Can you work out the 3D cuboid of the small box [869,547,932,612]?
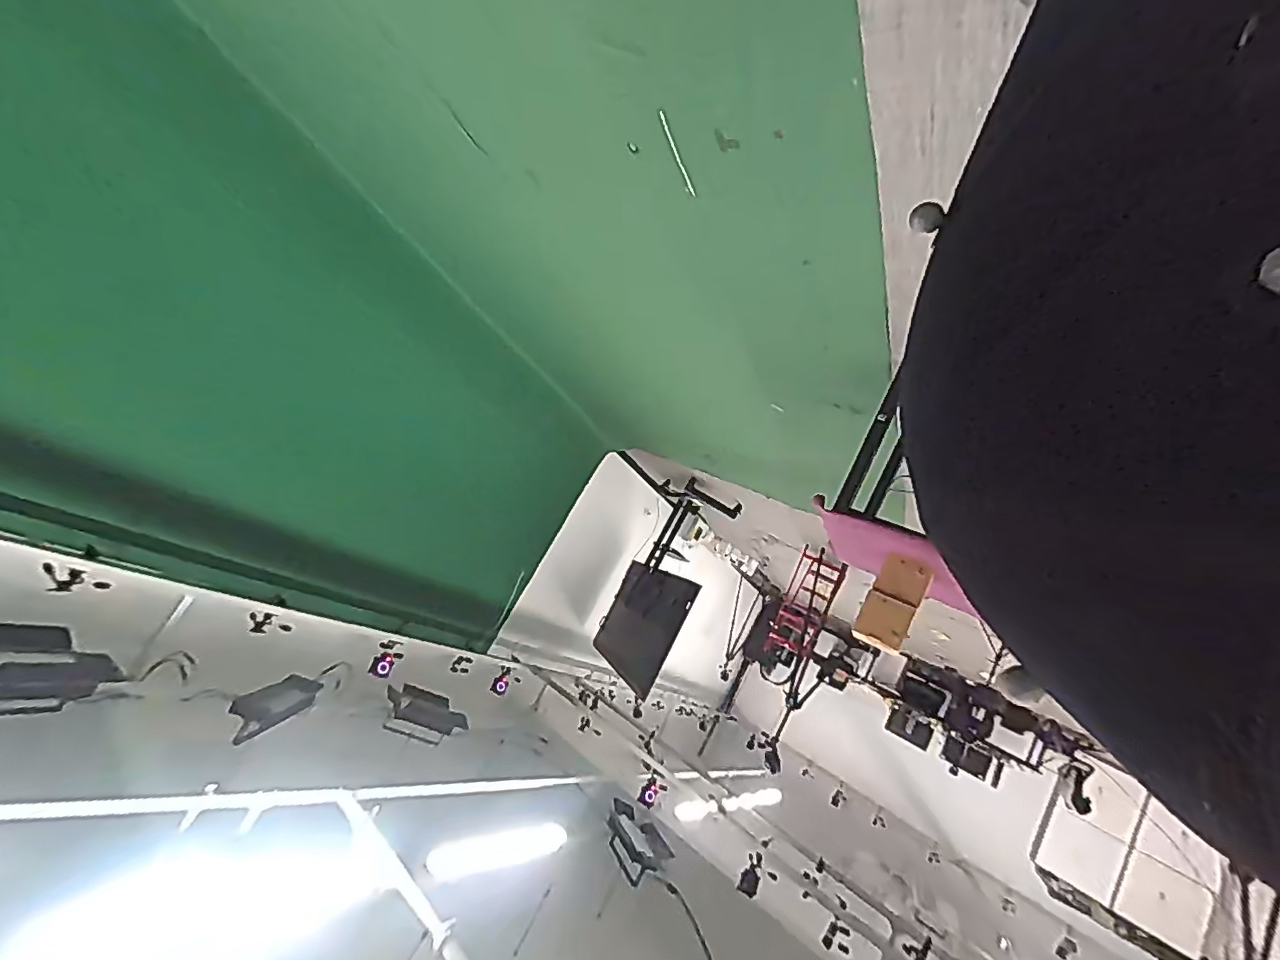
[{"bbox_3d":[0.977,0.371,2.031,0.168,0.176,0.179,26,169,29],"label":"small box"}]
